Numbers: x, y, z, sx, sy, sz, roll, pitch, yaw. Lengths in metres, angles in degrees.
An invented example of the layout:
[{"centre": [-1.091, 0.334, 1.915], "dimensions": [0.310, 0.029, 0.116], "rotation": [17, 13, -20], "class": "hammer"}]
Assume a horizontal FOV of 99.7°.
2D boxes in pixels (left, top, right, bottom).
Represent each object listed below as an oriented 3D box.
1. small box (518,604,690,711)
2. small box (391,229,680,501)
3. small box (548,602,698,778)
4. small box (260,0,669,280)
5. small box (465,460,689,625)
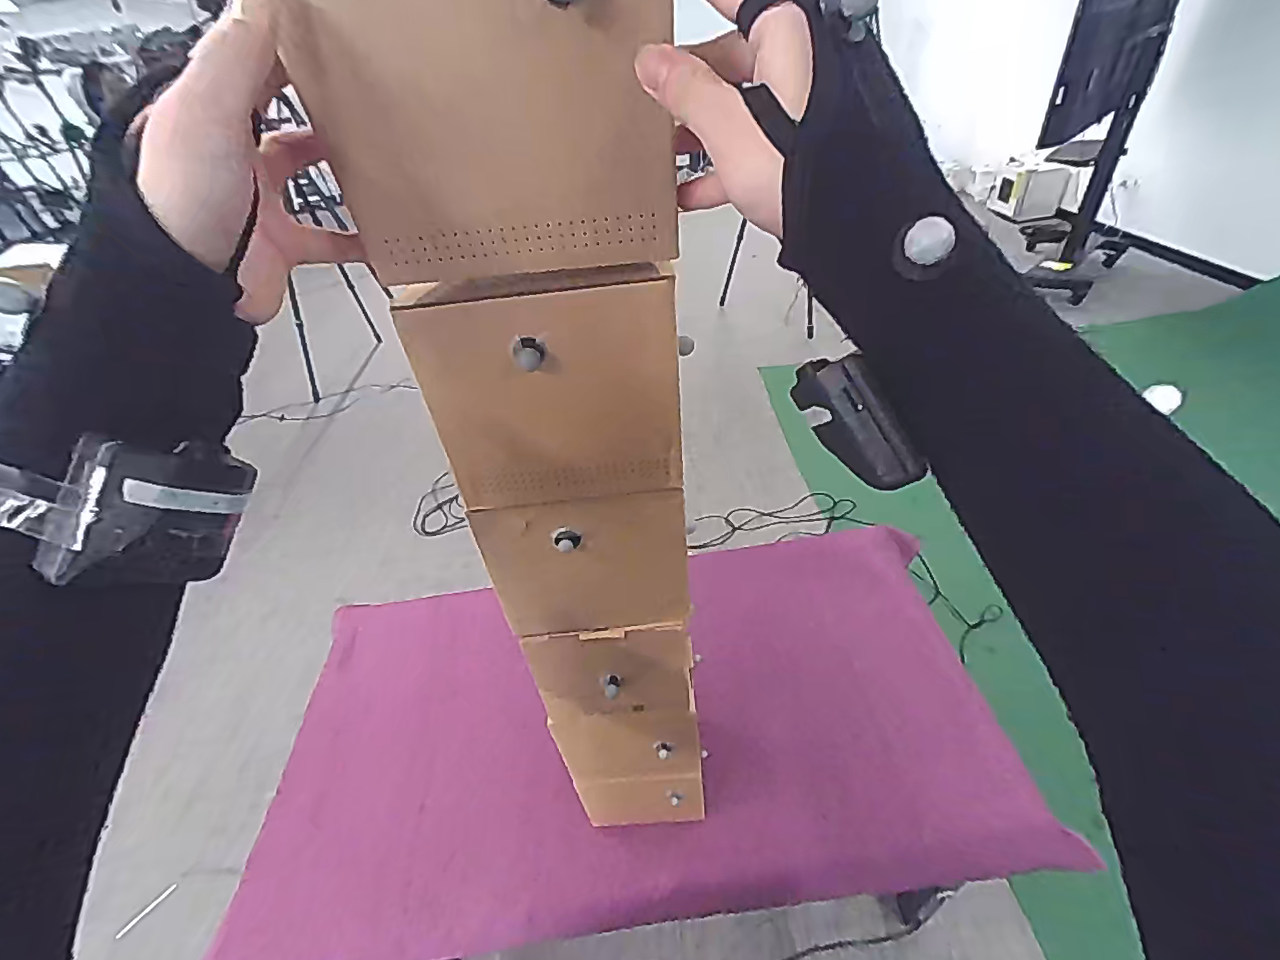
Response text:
[{"centre": [-0.032, 0.155, 0.639], "dimensions": [0.168, 0.176, 0.179], "rotation": [-5, 39, 3], "class": "small box"}, {"centre": [-0.061, -0.101, 0.437], "dimensions": [0.179, 0.176, 0.168], "rotation": [-7, 39, 2], "class": "small box"}, {"centre": [-0.014, 0.285, 0.737], "dimensions": [0.179, 0.176, 0.168], "rotation": [-6, 39, 4], "class": "small box"}, {"centre": [-0.074, -0.236, 0.313], "dimensions": [0.179, 0.176, 0.168], "rotation": [-5, 47, 2], "class": "small box"}, {"centre": [-0.049, 0.027, 0.537], "dimensions": [0.179, 0.176, 0.168], "rotation": [-6, 39, 1], "class": "small box"}]
